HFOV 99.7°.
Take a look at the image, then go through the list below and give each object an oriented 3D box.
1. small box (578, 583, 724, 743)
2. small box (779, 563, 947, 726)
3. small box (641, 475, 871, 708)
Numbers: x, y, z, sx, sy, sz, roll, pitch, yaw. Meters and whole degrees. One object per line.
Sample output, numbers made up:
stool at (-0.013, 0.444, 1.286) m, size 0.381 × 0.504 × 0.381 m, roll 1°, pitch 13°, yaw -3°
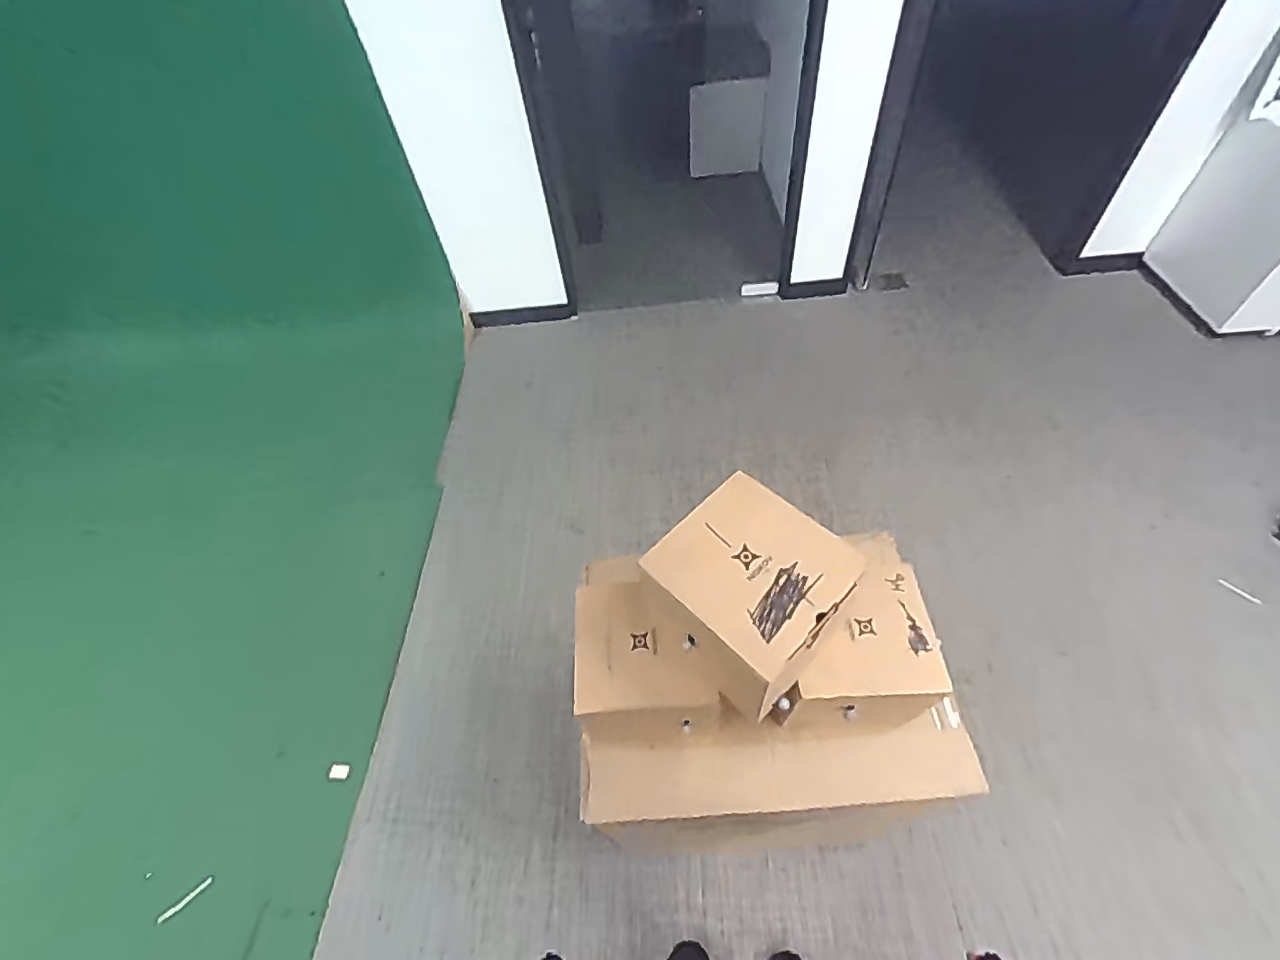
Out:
small box at (0.015, 0.253, 0.746) m, size 0.179 × 0.176 × 0.168 m, roll -7°, pitch 52°, yaw 2°
small box at (0.275, 0.229, 0.735) m, size 0.179 × 0.176 × 0.168 m, roll -5°, pitch 55°, yaw 4°
small box at (0.125, 0.134, 0.617) m, size 0.168 × 0.176 × 0.179 m, roll -40°, pitch 58°, yaw -21°
